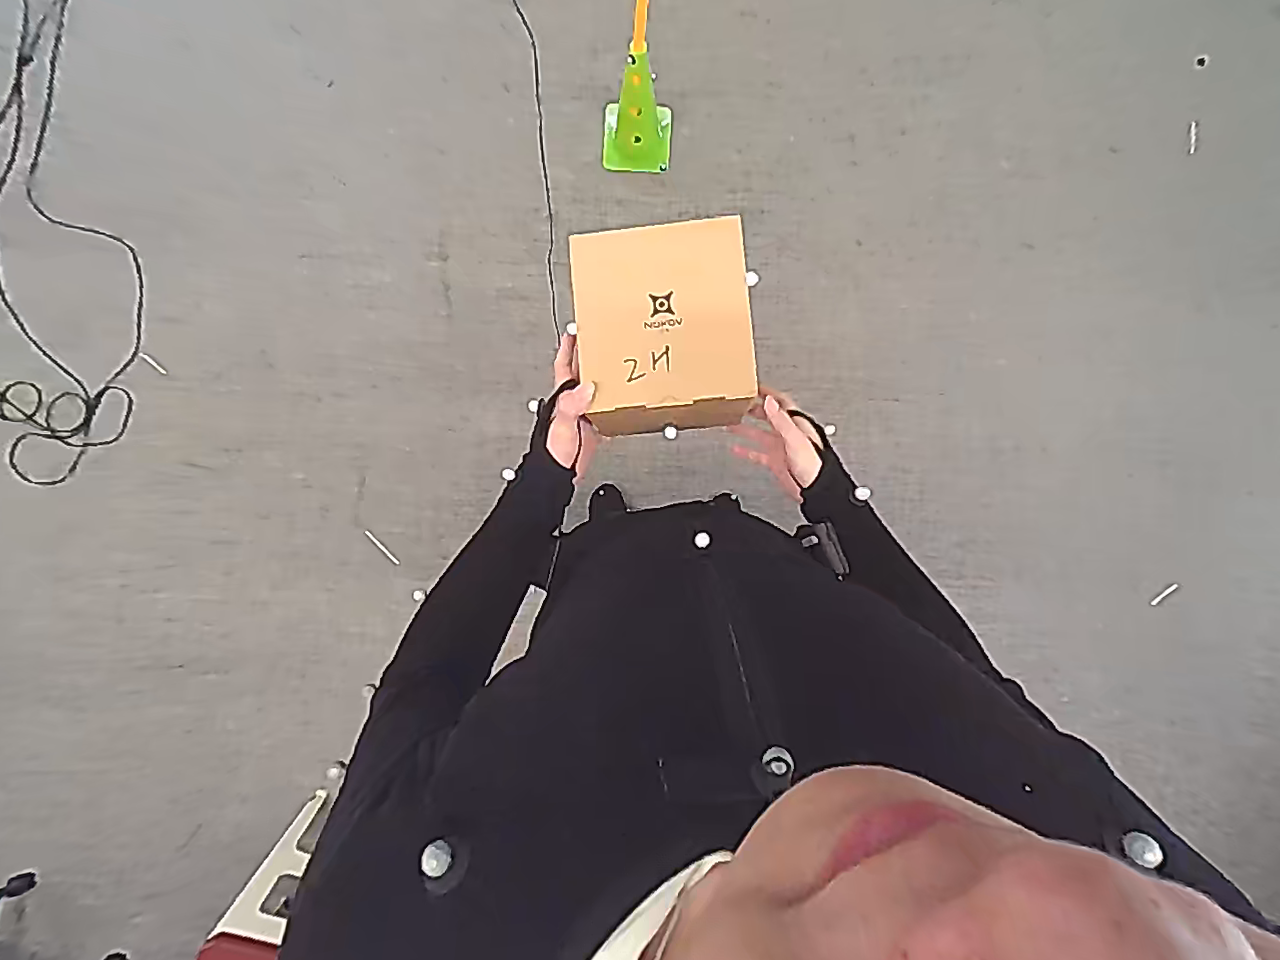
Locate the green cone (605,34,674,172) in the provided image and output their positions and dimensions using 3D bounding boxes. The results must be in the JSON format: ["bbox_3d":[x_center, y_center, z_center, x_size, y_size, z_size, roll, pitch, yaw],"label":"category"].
[{"bbox_3d":[-0.004,-1.024,1.442,0.202,0.368,0.200,2,89,1],"label":"green cone"}]
